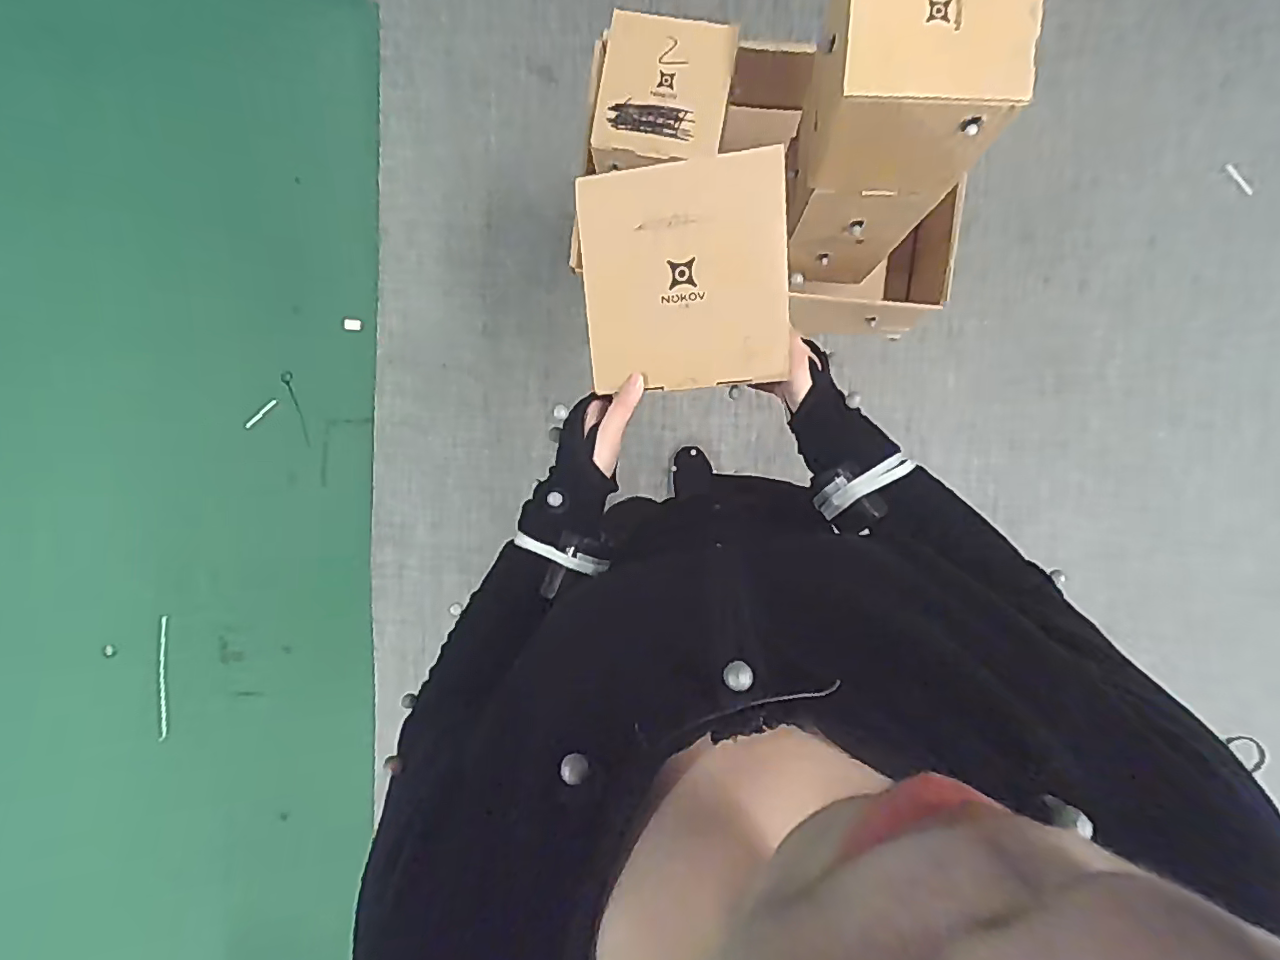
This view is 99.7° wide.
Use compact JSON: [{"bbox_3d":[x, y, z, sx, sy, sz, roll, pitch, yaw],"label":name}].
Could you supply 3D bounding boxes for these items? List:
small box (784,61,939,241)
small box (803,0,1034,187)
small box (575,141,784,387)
[{"bbox_3d":[0.302,-0.450,0.752,0.168,0.176,0.179,4,93,4],"label":"small box"},{"bbox_3d":[0.285,-0.444,0.589,0.179,0.176,0.168,5,92,3],"label":"small box"},{"bbox_3d":[0.046,-0.184,0.511,0.168,0.176,0.179,-2,101,10],"label":"small box"}]
